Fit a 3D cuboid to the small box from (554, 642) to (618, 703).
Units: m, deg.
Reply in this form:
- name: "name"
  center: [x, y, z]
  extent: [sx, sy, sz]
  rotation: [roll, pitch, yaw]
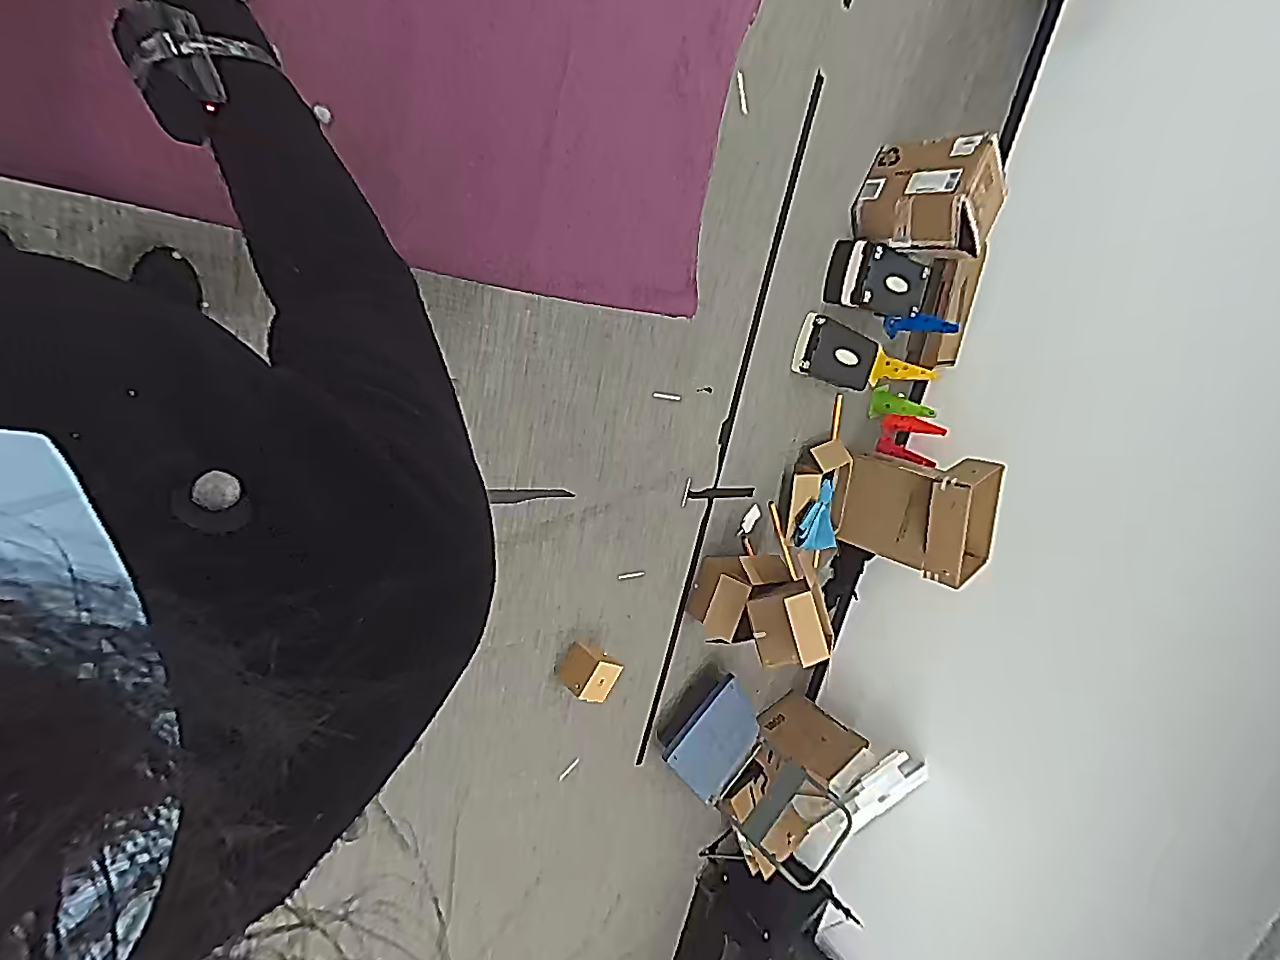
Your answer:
- name: "small box"
  center: [-0.232, 0.807, 2.274]
  extent: [0.168, 0.176, 0.179]
  rotation: [35, 84, -48]
